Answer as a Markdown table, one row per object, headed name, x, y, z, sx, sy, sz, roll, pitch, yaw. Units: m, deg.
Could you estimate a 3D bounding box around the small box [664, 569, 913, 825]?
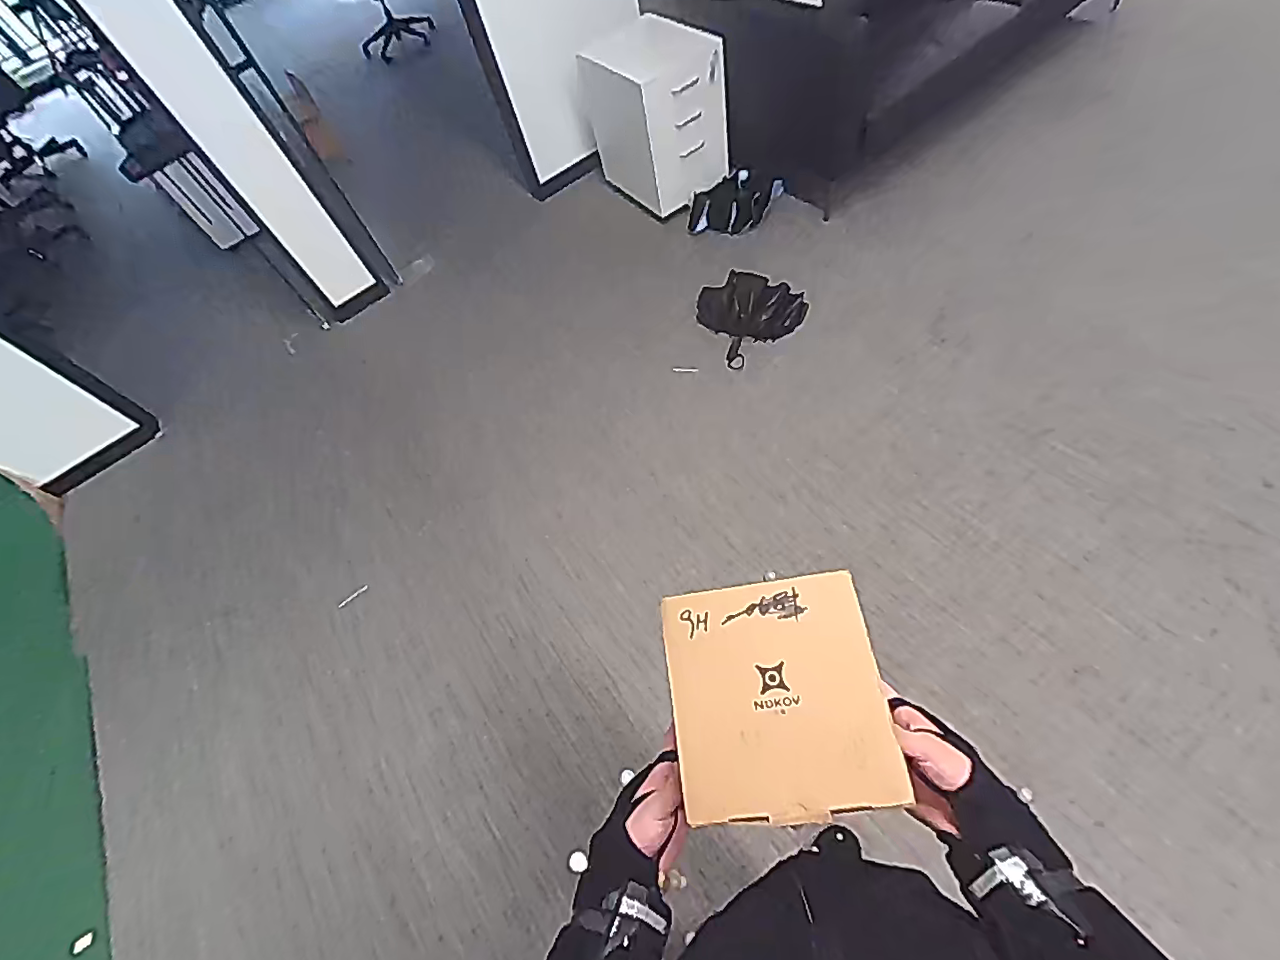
| name | x | y | z | sx | sy | sz | roll | pitch | yaw |
| --- | --- | --- | --- | --- | --- | --- | --- | --- | --- |
| small box | 0.121 | 0.197 | 0.498 | 0.168 | 0.176 | 0.179 | -9 | 64 | 6 |
